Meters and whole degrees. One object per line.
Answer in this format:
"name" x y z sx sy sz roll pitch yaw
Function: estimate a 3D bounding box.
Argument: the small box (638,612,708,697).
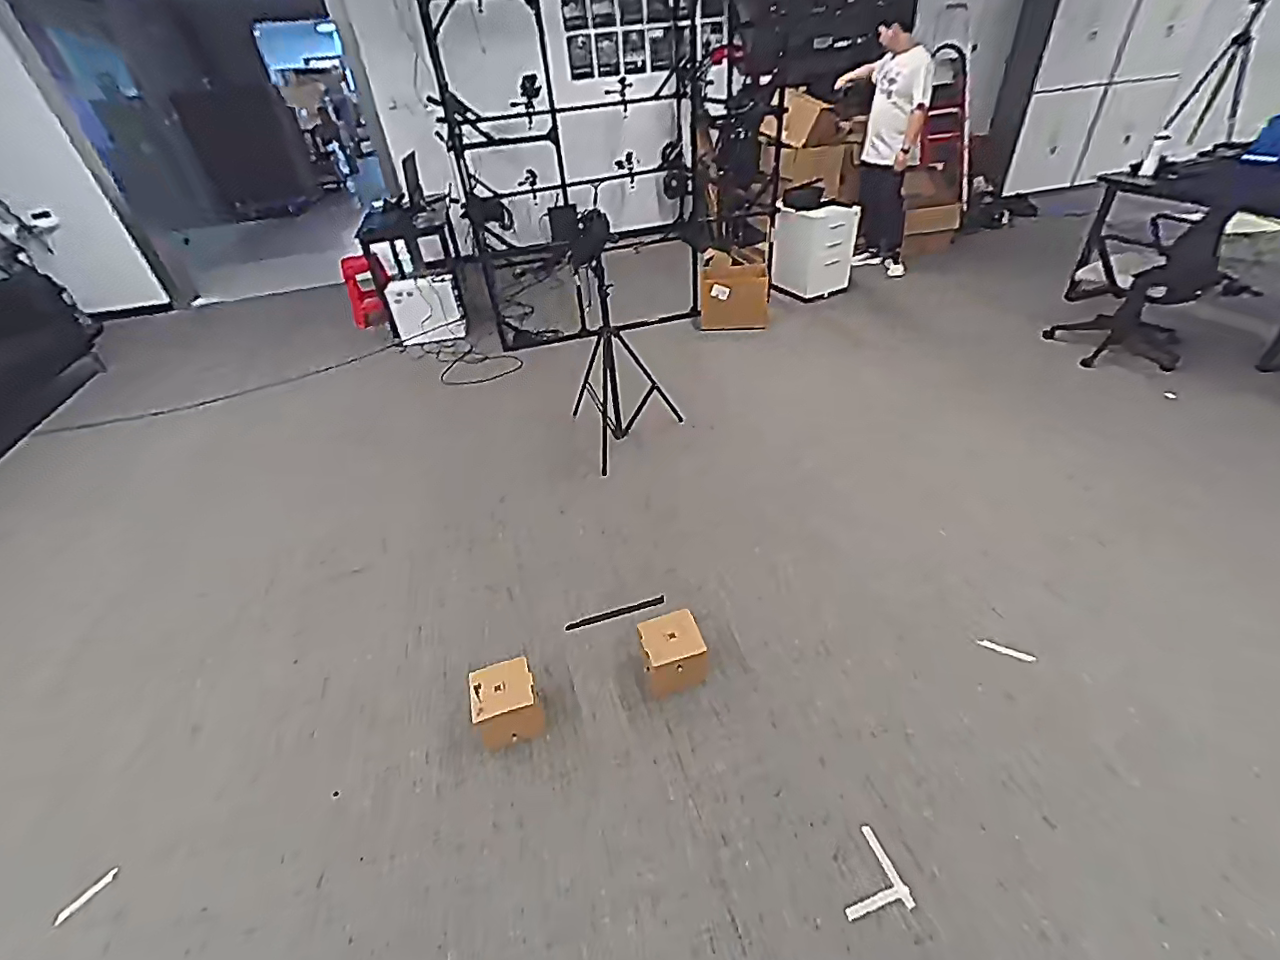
"small box" 0.104 0.547 1.687 0.179 0.176 0.168 -13 40 -11

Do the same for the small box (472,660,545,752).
"small box" -0.385 0.668 1.596 0.179 0.176 0.168 -14 39 -10
